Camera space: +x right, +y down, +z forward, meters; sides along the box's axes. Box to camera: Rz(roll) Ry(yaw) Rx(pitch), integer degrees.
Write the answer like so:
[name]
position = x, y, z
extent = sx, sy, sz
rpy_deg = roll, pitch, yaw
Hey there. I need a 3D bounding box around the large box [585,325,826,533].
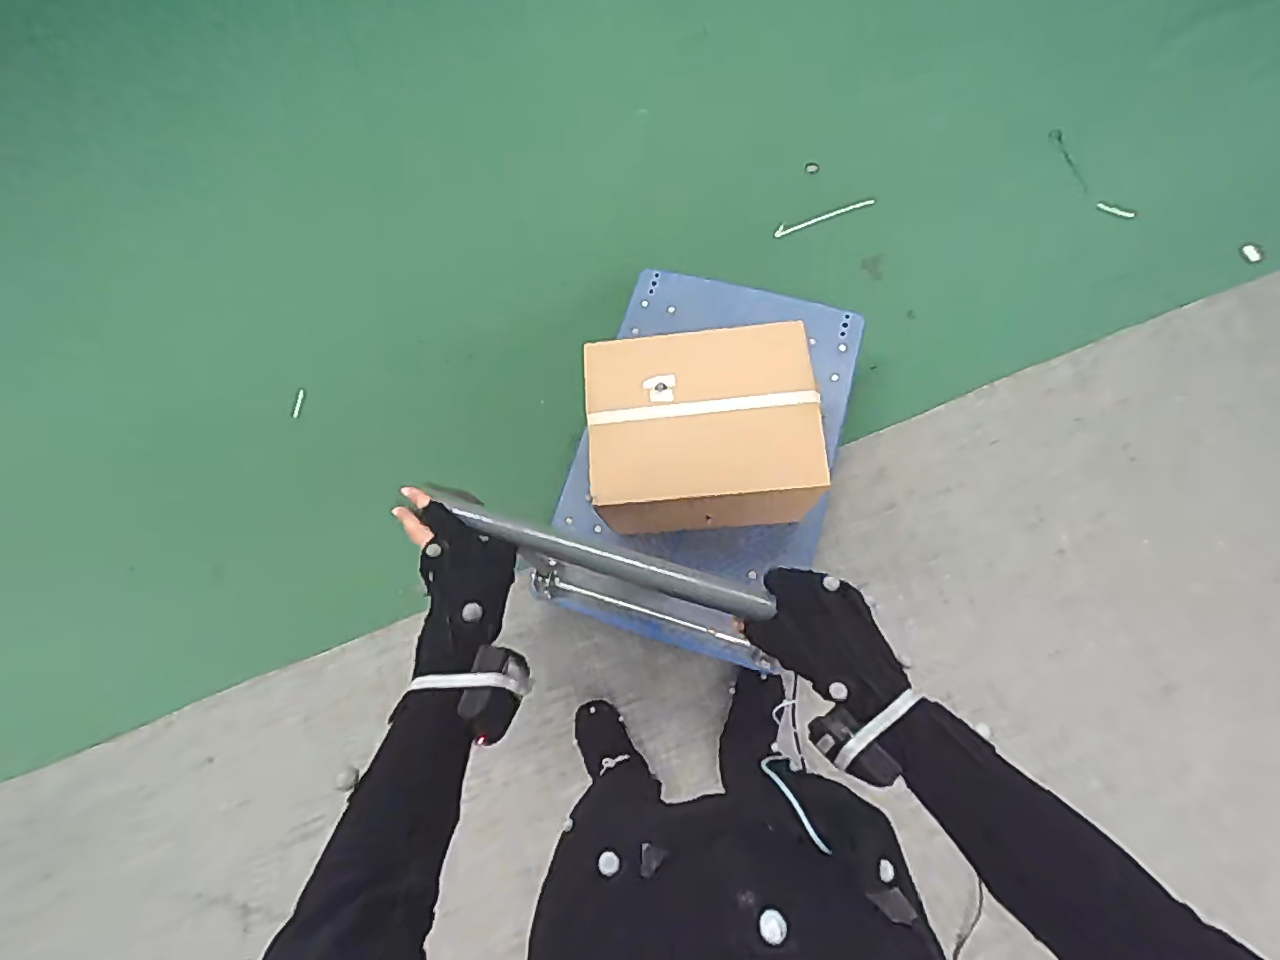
[large box]
position = 0.121, -0.079, 1.095
extent = 0.408, 0.320, 0.320
rpy_deg = -5, 74, 5
